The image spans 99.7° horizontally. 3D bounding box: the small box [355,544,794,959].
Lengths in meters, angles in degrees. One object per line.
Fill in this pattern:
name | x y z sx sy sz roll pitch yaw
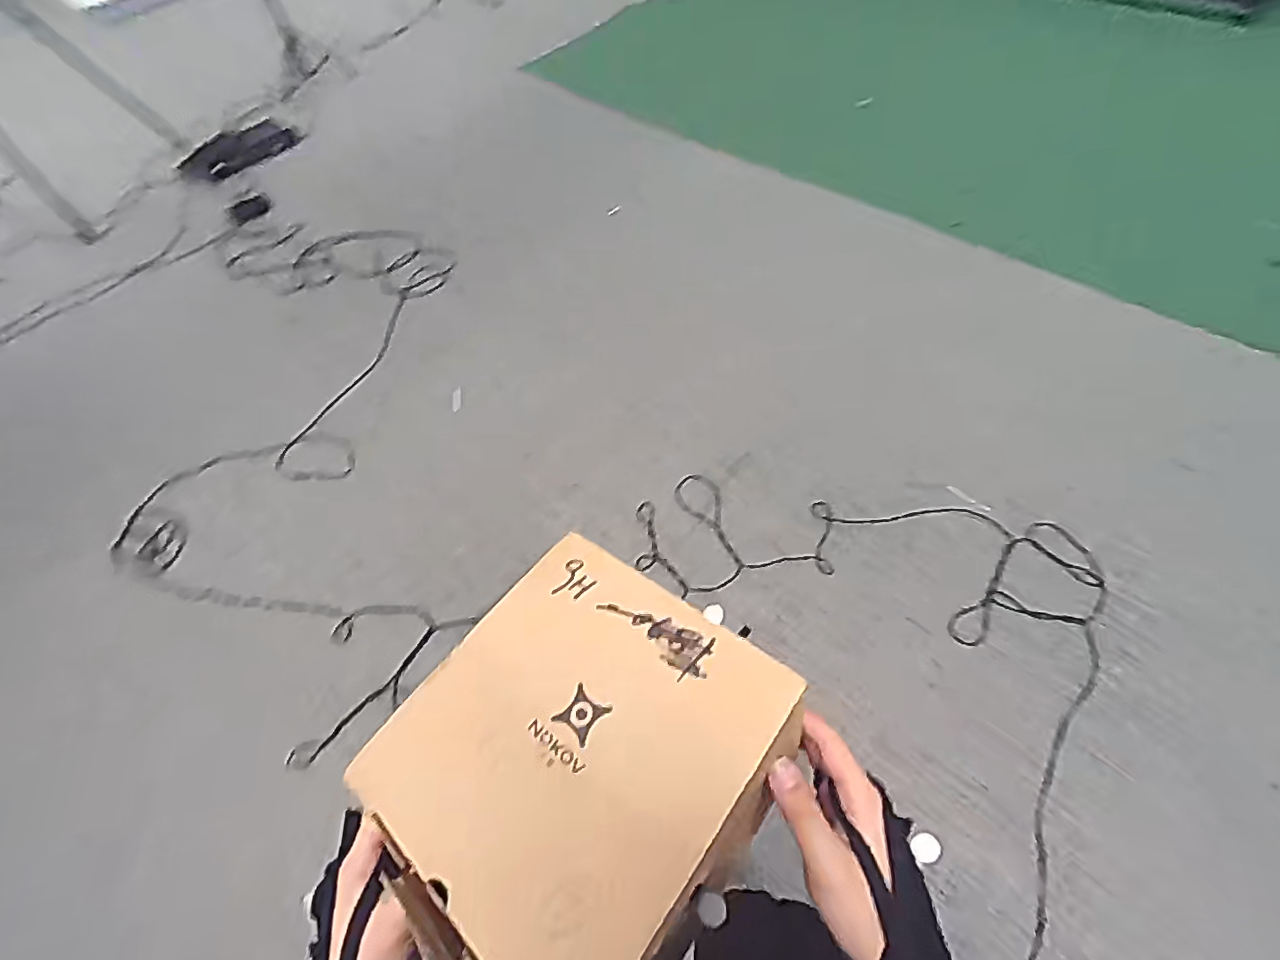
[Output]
small box | -0.020 0.180 0.333 0.168 0.176 0.179 29 63 31
